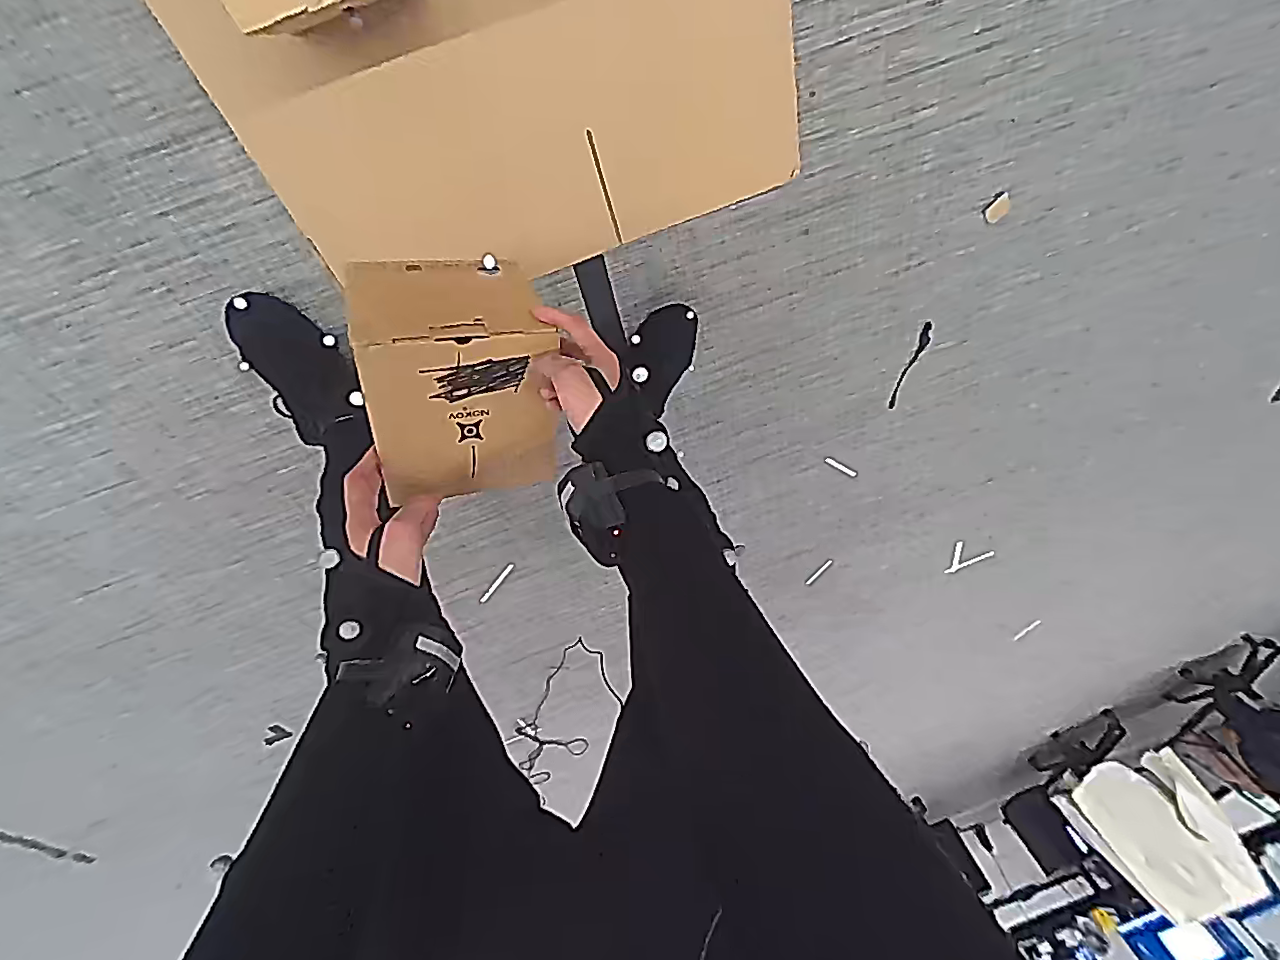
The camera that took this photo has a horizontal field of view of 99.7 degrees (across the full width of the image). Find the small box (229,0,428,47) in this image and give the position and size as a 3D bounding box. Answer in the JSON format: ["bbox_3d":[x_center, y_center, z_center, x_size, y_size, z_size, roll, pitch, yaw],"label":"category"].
[{"bbox_3d":[-0.306,-0.522,0.487,0.168,0.176,0.179,-20,132,0],"label":"small box"}]

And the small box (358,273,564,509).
[{"bbox_3d":[-0.182,-0.101,0.553,0.168,0.176,0.179,-10,134,-21],"label":"small box"}]
